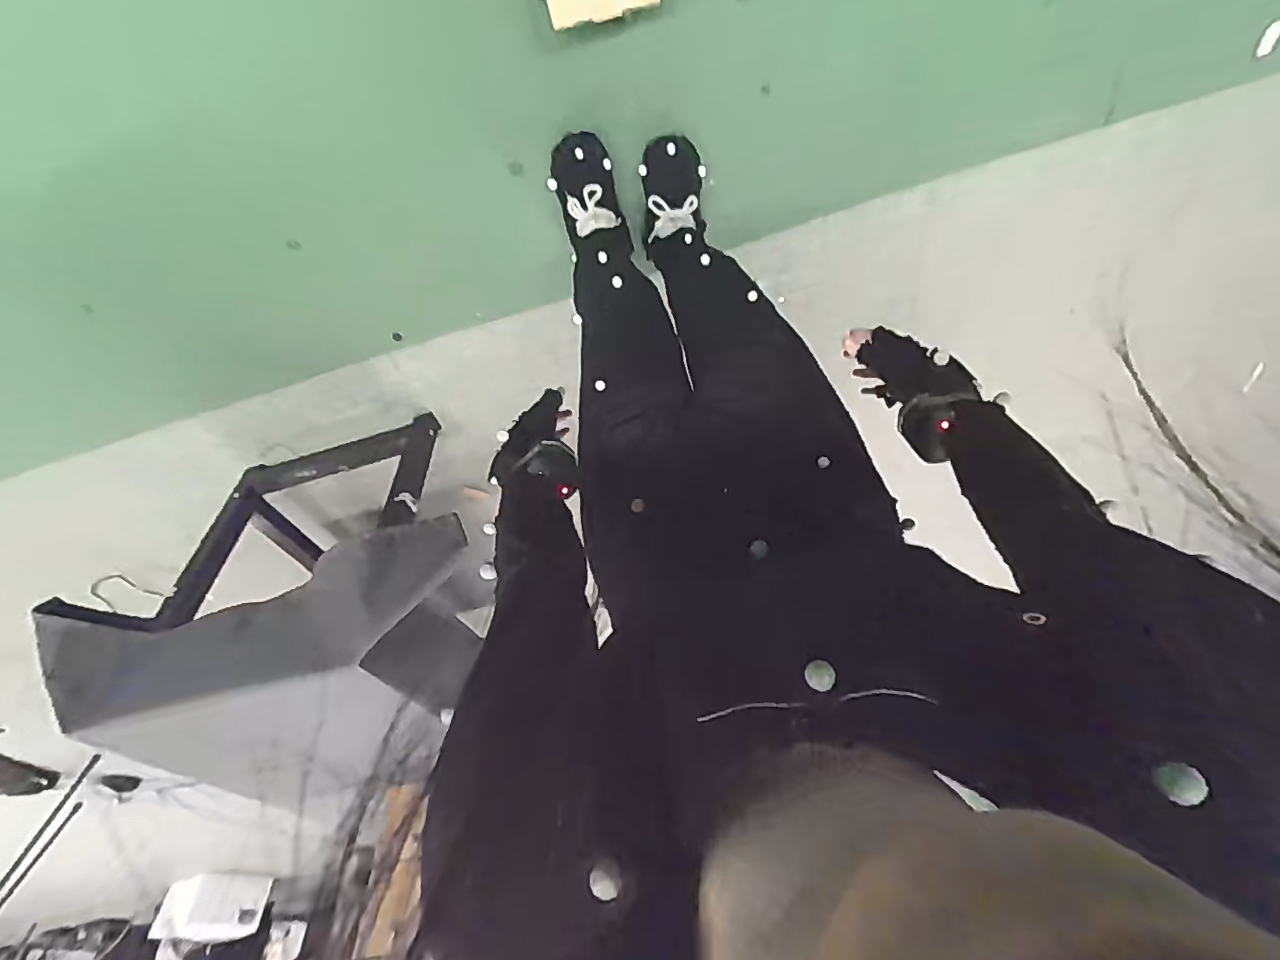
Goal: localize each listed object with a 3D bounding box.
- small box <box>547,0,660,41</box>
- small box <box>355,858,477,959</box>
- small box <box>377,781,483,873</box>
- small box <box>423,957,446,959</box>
[{"bbox_3d":[-0.069,-0.795,0.809,0.168,0.176,0.179,-12,134,4],"label":"small box"},{"bbox_3d":[-0.485,0.965,1.199,0.179,0.176,0.168,-15,133,7],"label":"small box"},{"bbox_3d":[-0.499,0.855,1.317,0.179,0.176,0.168,-15,133,8],"label":"small box"},{"bbox_3d":[-0.468,1.075,1.078,0.168,0.176,0.179,-14,133,7],"label":"small box"}]
